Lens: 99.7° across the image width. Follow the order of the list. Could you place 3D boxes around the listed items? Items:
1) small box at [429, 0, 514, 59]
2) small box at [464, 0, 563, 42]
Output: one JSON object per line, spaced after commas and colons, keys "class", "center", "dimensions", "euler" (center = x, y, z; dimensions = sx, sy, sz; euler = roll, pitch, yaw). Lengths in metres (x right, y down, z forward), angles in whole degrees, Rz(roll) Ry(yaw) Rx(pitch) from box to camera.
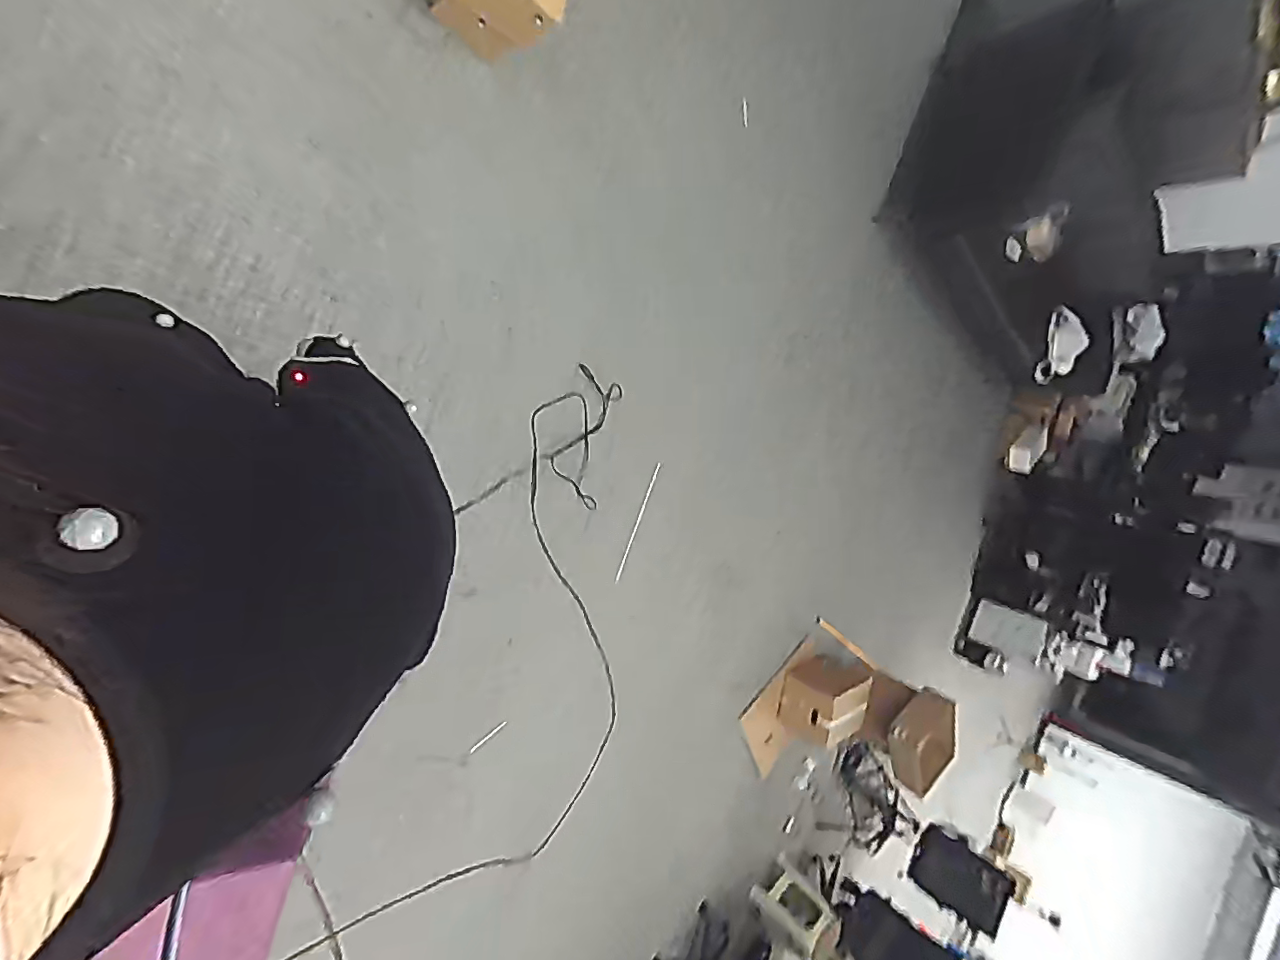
{"class": "small box", "center": [-0.370, -1.145, 1.271], "dimensions": [0.179, 0.176, 0.168], "euler": [17, 93, -43]}
{"class": "small box", "center": [-0.269, -1.092, 1.154], "dimensions": [0.179, 0.176, 0.168], "euler": [10, 97, -43]}
